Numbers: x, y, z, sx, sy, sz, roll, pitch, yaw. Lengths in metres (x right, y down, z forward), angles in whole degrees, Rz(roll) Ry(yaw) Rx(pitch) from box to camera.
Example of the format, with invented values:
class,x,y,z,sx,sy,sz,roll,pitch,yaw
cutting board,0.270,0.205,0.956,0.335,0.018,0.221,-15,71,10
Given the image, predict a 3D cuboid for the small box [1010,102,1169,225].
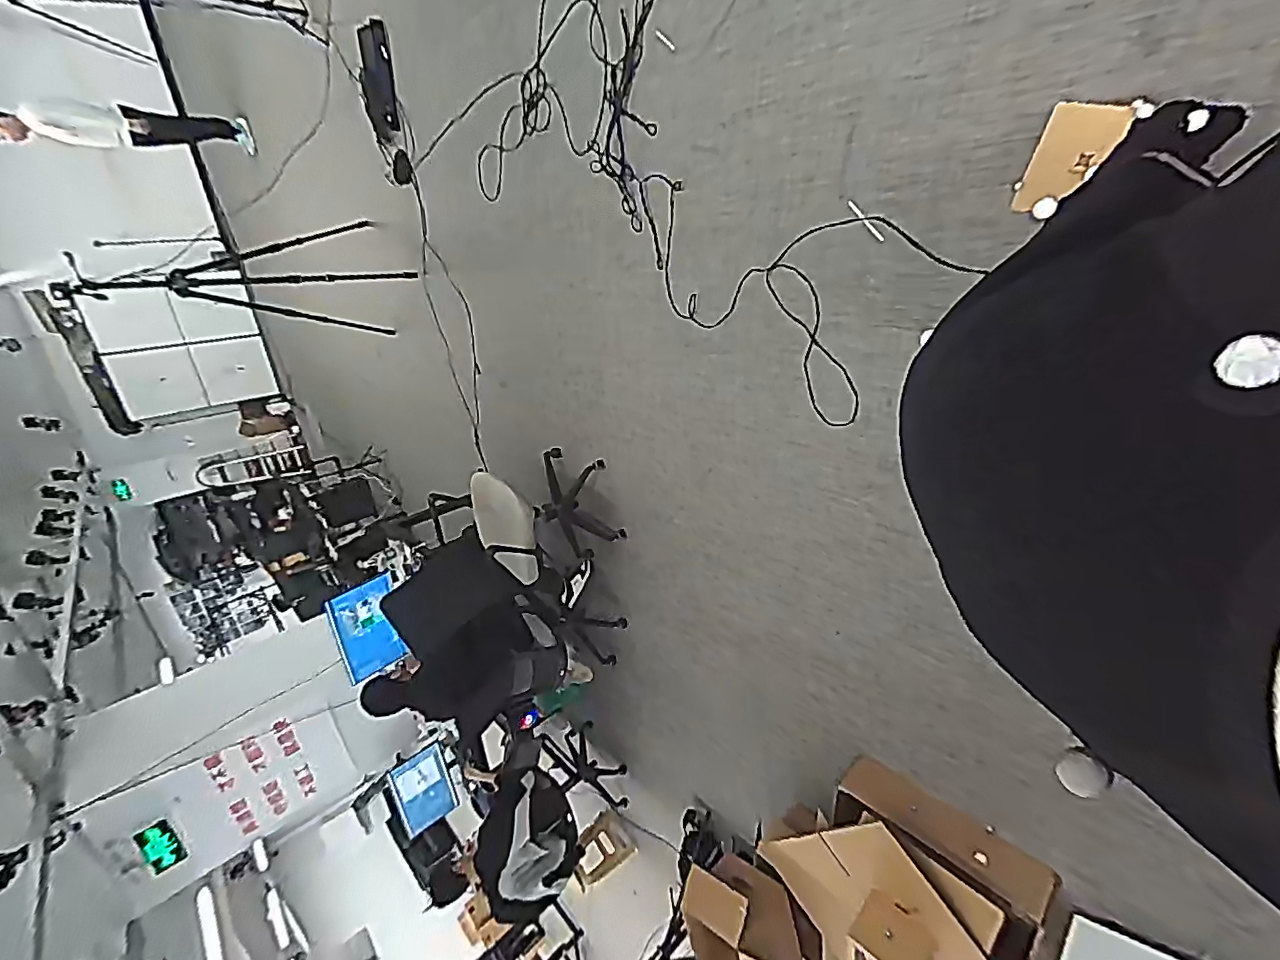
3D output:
class,x,y,z,sx,sy,sz,roll,pitch,yaw
small box,0.844,-0.592,1.017,0.168,0.176,0.179,34,133,34
